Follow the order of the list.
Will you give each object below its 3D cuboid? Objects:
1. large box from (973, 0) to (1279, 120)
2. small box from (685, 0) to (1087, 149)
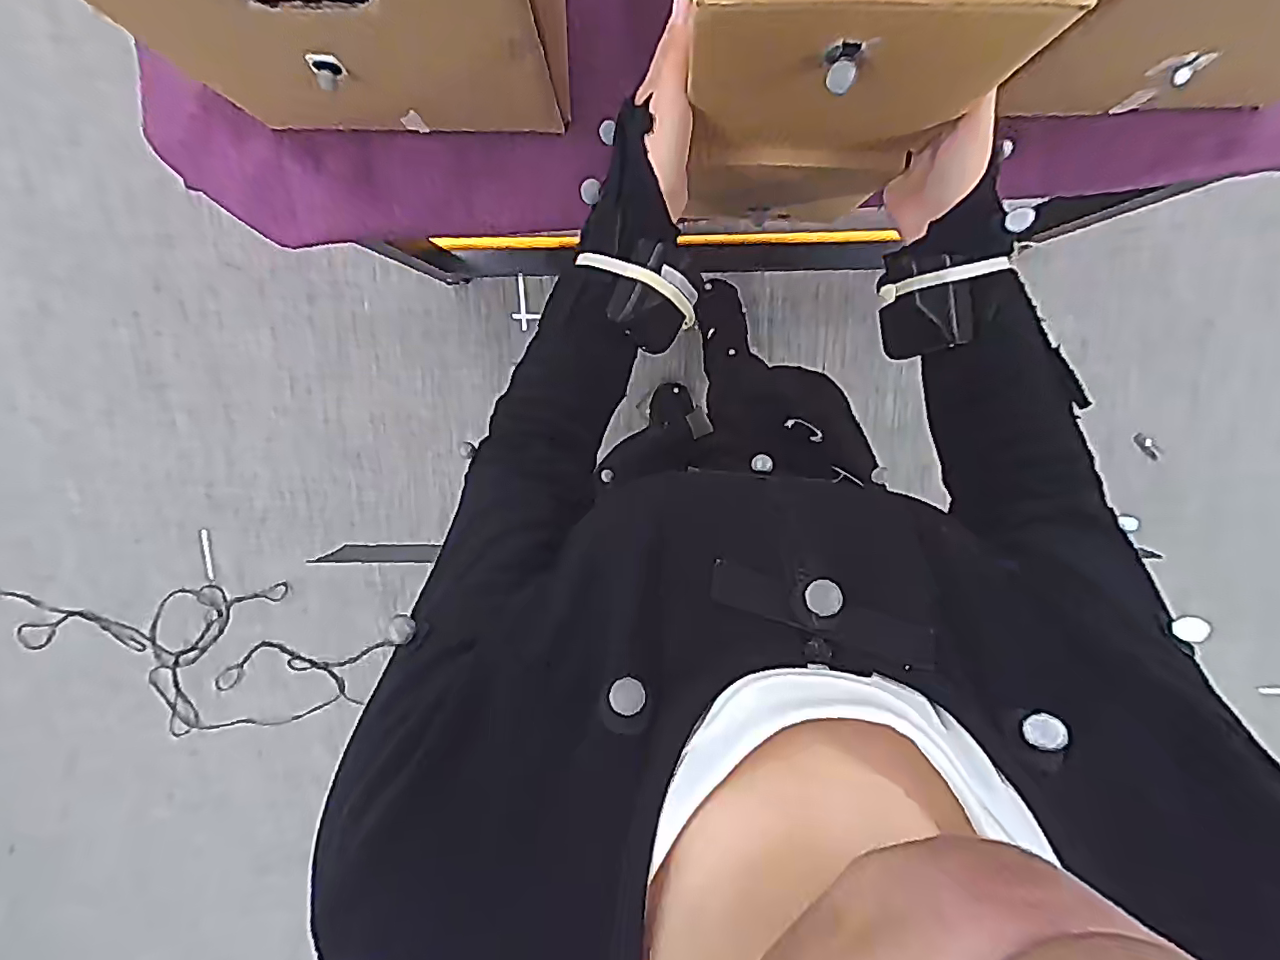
[{"bbox_3d":[0.475,-0.542,0.371,0.320,0.320,0.408,-1,100,1],"label":"large box"},{"bbox_3d":[0.118,-0.305,0.300,0.179,0.176,0.168,3,103,4],"label":"small box"}]
